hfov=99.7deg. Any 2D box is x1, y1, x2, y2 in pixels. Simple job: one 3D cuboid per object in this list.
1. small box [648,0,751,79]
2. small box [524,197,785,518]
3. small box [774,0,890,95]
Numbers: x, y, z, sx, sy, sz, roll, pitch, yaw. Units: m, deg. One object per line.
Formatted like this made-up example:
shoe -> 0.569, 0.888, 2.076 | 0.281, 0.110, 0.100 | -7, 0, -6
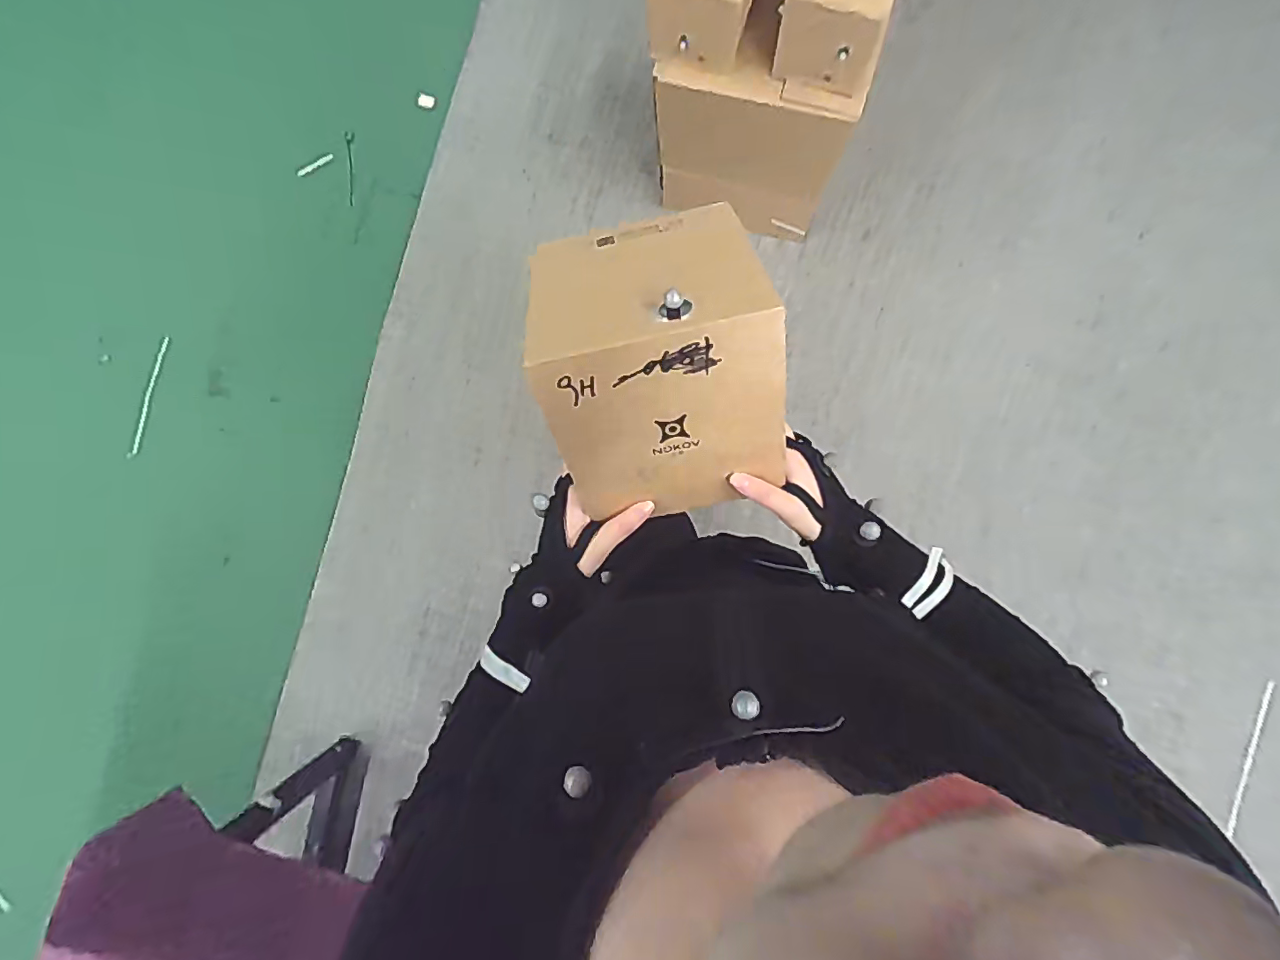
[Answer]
small box -> 0.112, -0.875, 0.964 | 0.168, 0.176, 0.179 | 16, 92, 3
small box -> 0.016, -0.097, 0.445 | 0.168, 0.179, 0.176 | -12, 47, 5
small box -> 0.343, -0.823, 0.942 | 0.168, 0.176, 0.179 | 19, 89, 6
